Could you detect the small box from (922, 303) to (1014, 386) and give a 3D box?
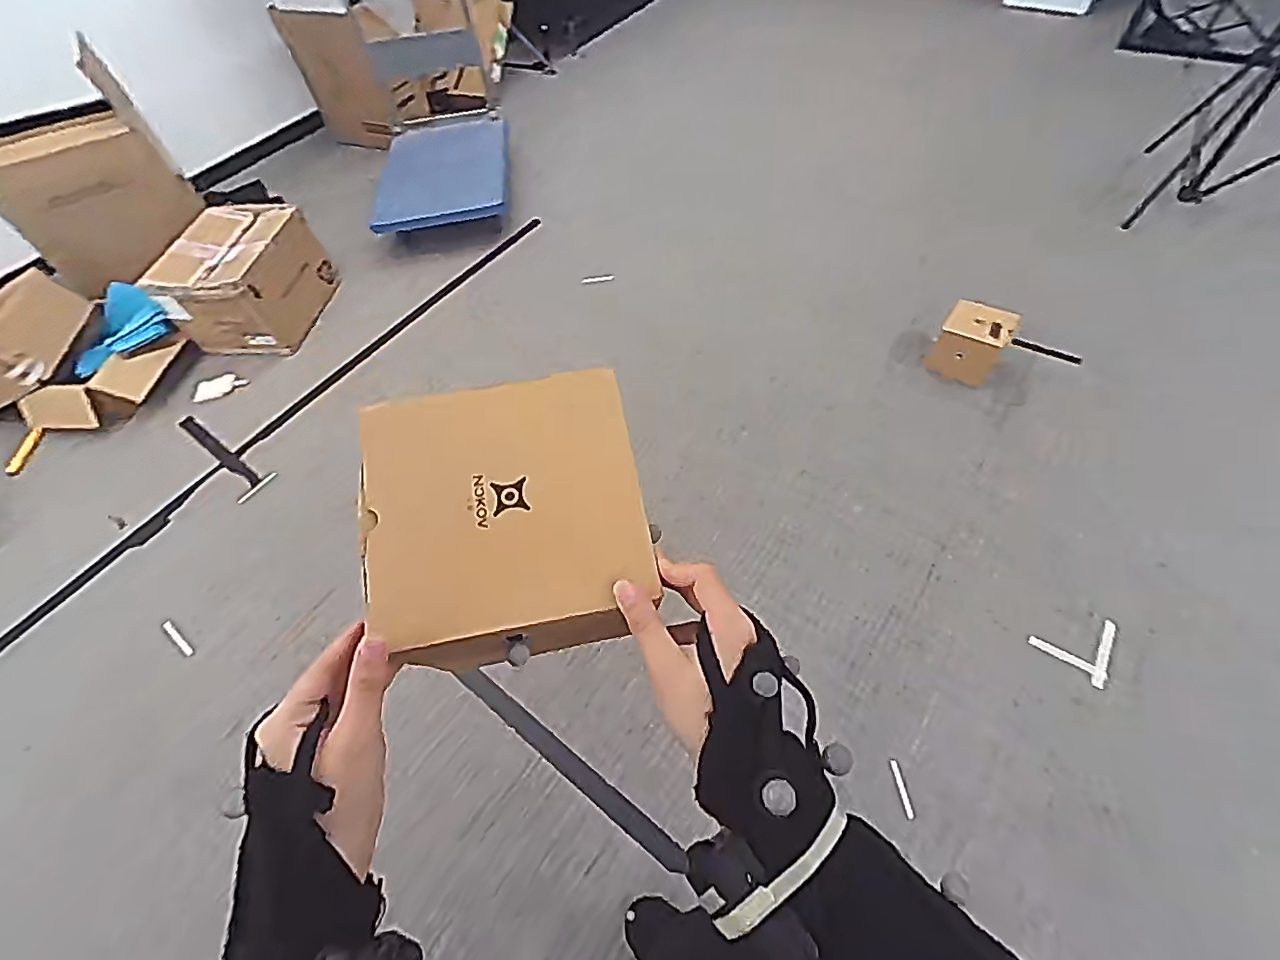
[{"bbox_3d":[1.031,-0.423,1.711,0.179,0.176,0.168,28,64,24],"label":"small box"}]

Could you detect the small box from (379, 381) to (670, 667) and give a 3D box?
[{"bbox_3d":[-0.082,0.046,0.426,0.179,0.176,0.168,-10,69,-5],"label":"small box"}]
